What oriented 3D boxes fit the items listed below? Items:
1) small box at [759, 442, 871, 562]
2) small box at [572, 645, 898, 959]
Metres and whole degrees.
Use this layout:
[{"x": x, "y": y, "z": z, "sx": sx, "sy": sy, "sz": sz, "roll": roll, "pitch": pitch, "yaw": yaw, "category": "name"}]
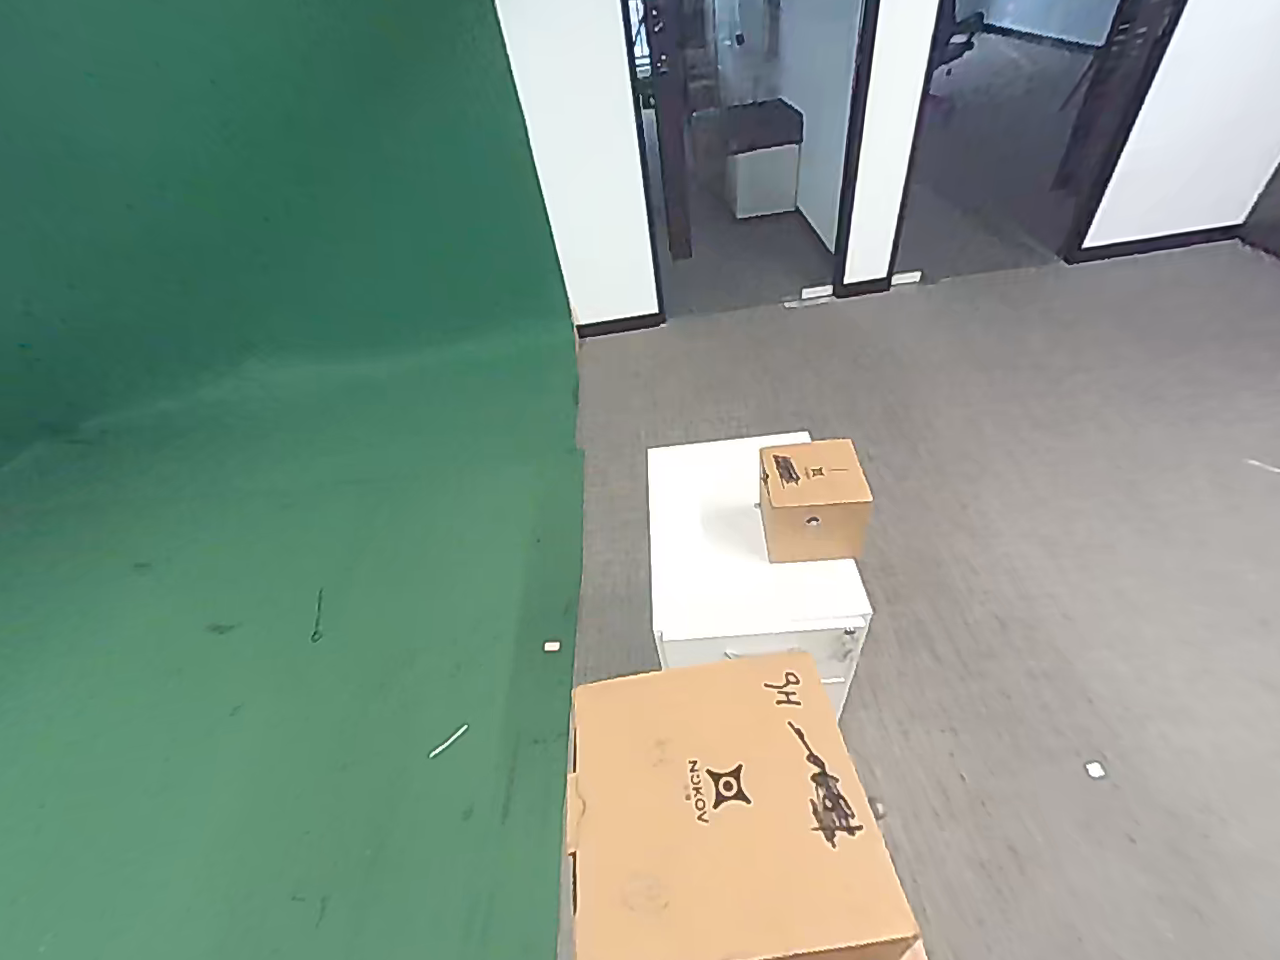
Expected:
[{"x": 0.331, "y": 0.047, "z": 1.058, "sx": 0.179, "sy": 0.176, "sz": 0.168, "roll": -4, "pitch": 45, "yaw": 7, "category": "small box"}, {"x": 0.054, "y": 0.248, "z": 0.391, "sx": 0.179, "sy": 0.176, "sz": 0.168, "roll": -8, "pitch": 39, "yaw": 0, "category": "small box"}]
